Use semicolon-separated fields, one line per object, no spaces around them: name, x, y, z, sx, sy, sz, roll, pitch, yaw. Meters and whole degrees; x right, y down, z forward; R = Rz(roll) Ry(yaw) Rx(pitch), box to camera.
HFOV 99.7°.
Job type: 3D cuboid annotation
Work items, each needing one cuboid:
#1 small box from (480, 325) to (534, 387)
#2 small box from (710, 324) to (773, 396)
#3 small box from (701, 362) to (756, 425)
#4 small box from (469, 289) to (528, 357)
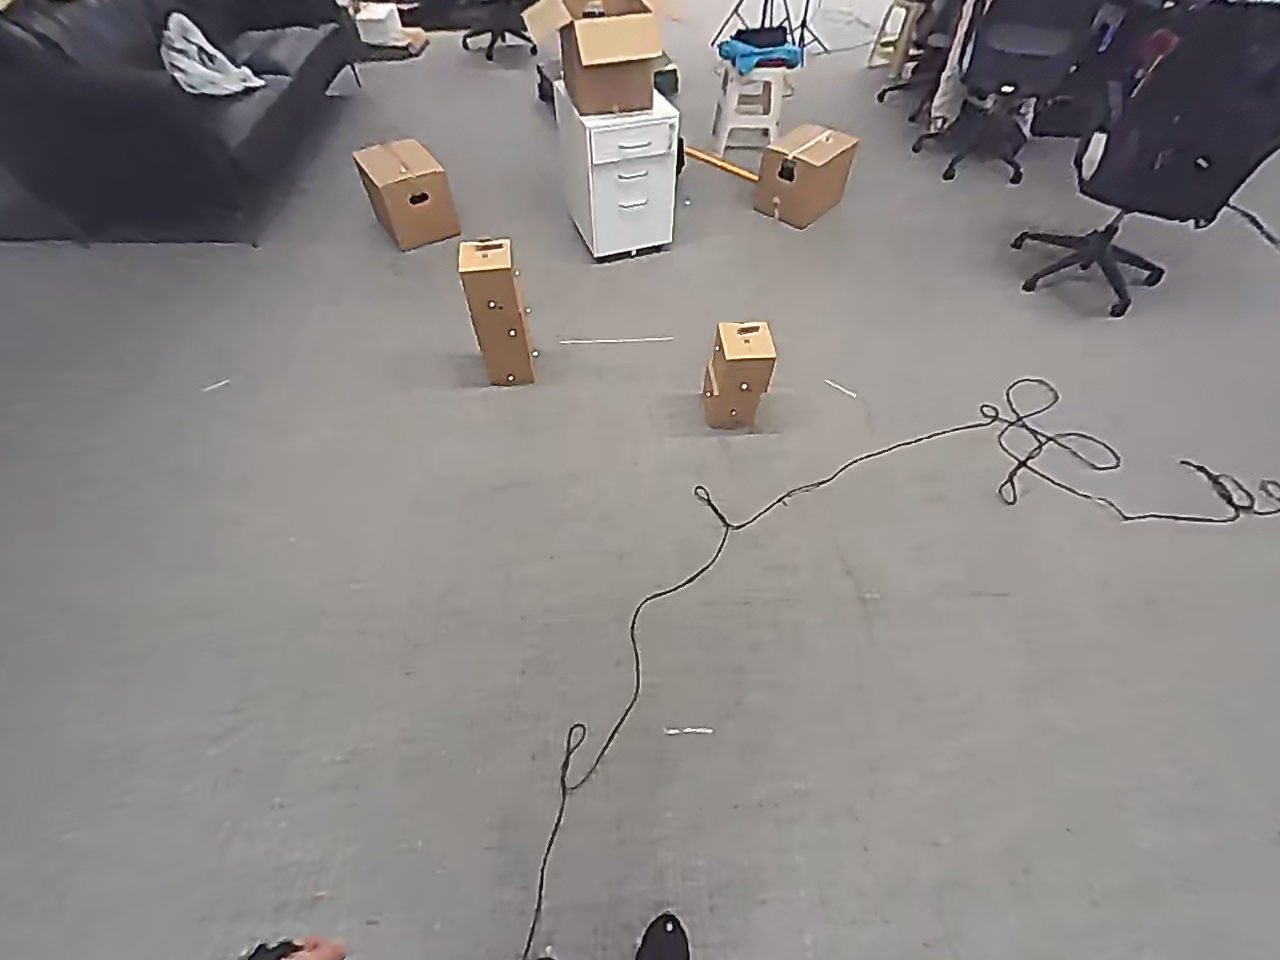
small box;-0.507;-0.477;2.091;0.179;0.176;0.168;-3;53;-3
small box;0.336;-0.404;1.825;0.168;0.176;0.179;-3;55;-2
small box;0.319;-0.310;1.960;0.168;0.176;0.179;-4;54;-3
small box;-0.506;-0.566;1.954;0.179;0.176;0.168;-7;52;-3
